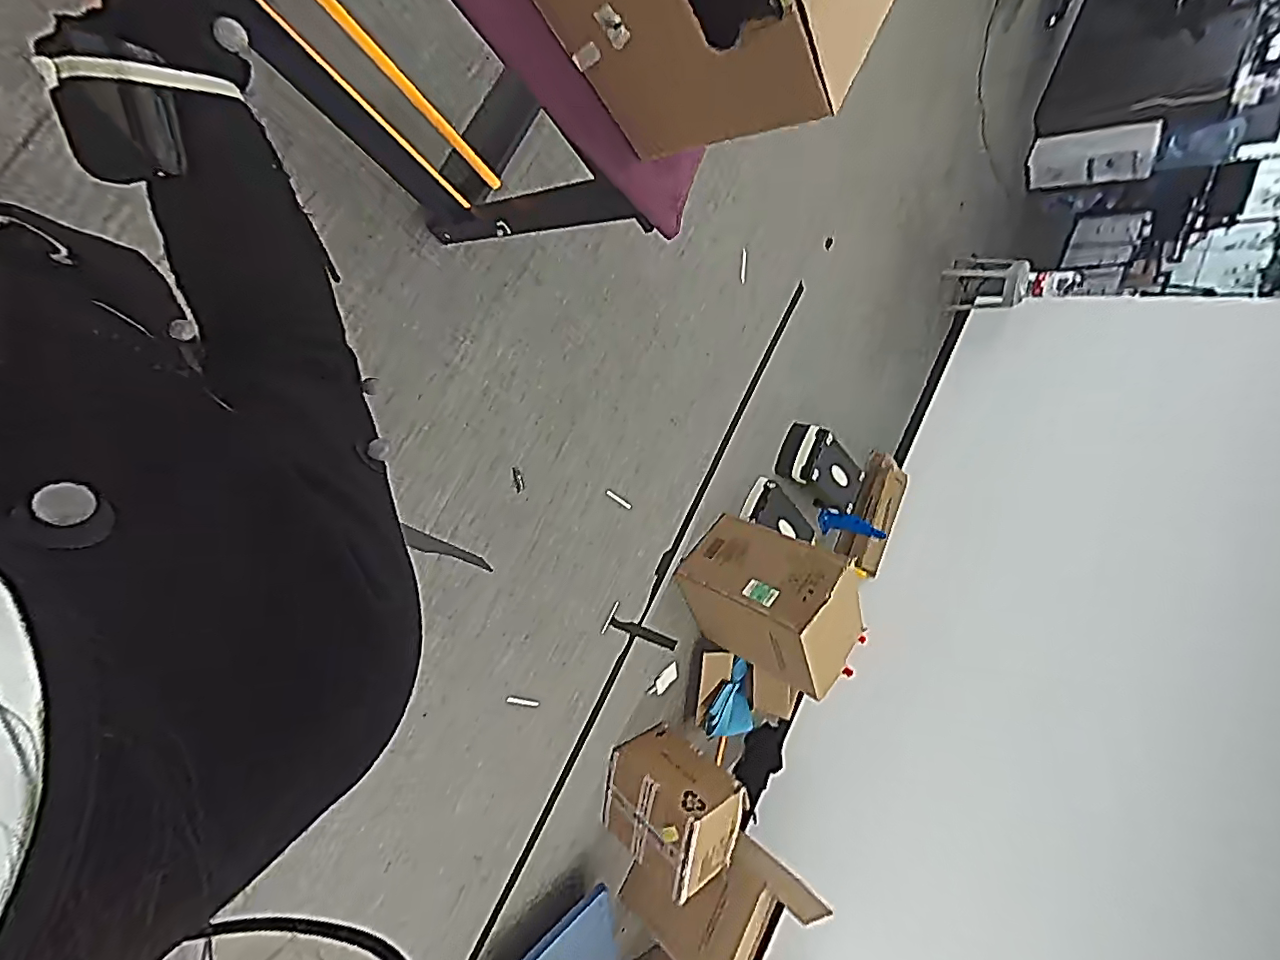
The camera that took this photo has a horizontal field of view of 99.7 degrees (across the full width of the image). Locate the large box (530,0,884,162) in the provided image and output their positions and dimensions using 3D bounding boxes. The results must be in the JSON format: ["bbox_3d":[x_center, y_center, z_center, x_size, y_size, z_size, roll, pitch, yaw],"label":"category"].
[{"bbox_3d":[0.106,-0.677,0.636,0.320,0.320,0.408,37,76,-47],"label":"large box"}]
